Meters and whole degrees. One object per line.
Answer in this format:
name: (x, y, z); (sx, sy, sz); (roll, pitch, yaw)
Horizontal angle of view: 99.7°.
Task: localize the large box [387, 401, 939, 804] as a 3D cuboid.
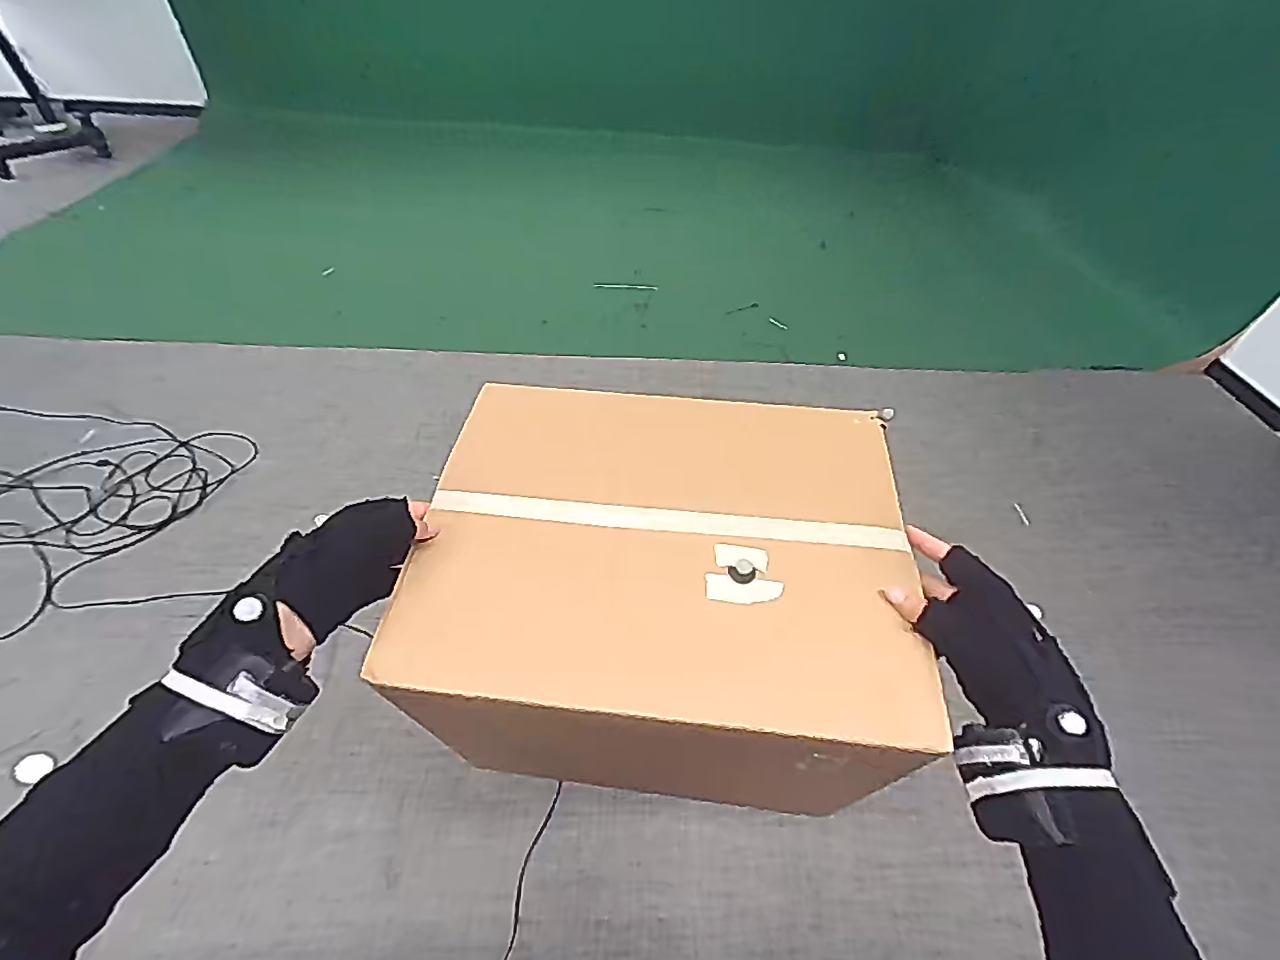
large box: (0.024, 0.137, 0.590); (0.408, 0.320, 0.320); (4, 52, 5)
